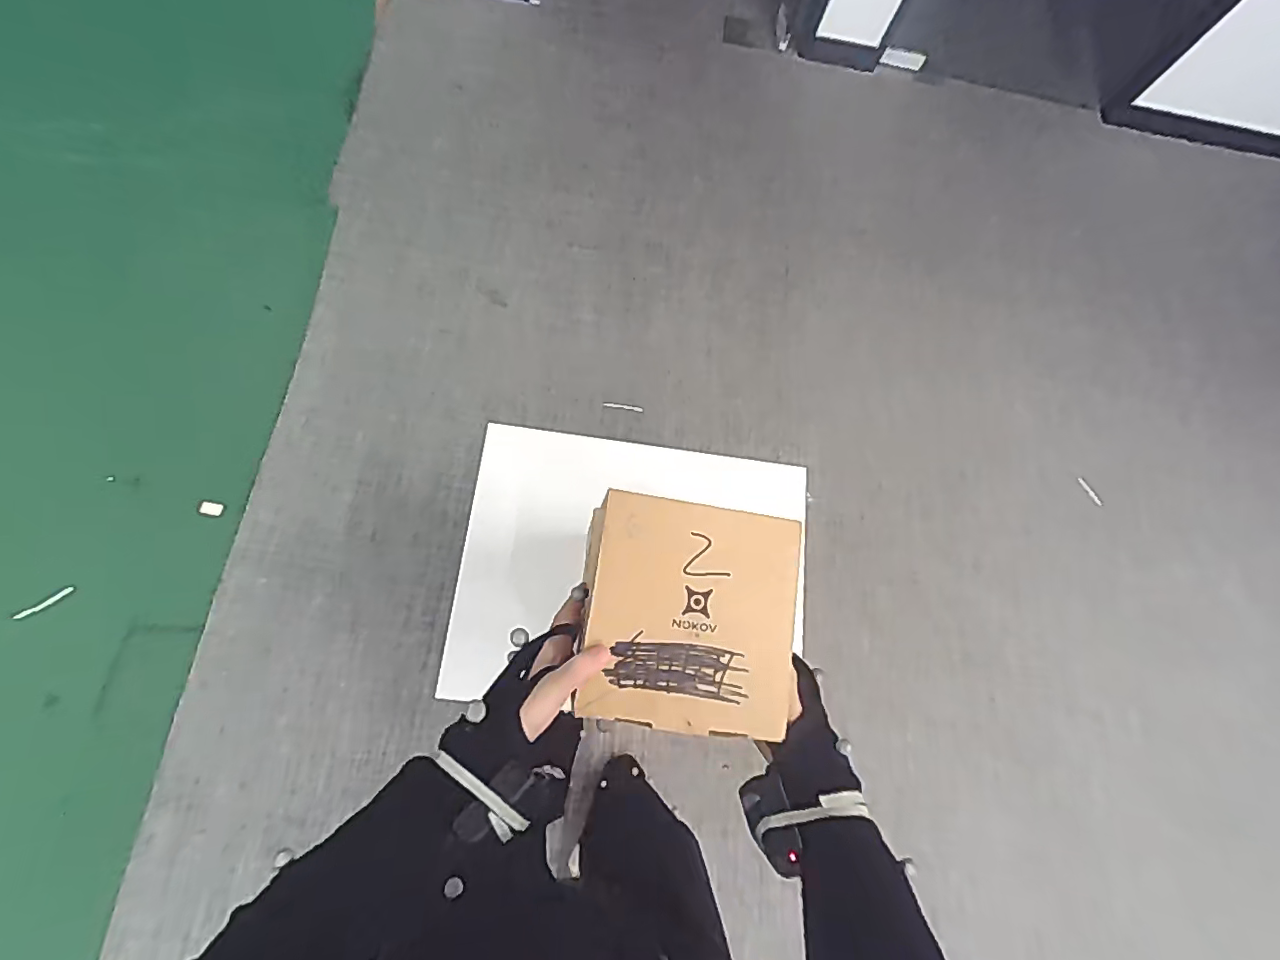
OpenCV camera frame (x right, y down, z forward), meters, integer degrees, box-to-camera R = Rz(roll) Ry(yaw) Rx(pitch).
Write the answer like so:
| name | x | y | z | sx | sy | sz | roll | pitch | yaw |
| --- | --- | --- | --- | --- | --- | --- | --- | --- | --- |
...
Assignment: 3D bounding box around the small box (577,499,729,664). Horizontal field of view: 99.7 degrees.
| name | x | y | z | sx | sy | sz | roll | pitch | yaw |
| --- | --- | --- | --- | --- | --- | --- | --- | --- | --- |
| small box | 0.010 | 0.137 | 0.700 | 0.168 | 0.176 | 0.179 | 7 | 73 | -5 |
